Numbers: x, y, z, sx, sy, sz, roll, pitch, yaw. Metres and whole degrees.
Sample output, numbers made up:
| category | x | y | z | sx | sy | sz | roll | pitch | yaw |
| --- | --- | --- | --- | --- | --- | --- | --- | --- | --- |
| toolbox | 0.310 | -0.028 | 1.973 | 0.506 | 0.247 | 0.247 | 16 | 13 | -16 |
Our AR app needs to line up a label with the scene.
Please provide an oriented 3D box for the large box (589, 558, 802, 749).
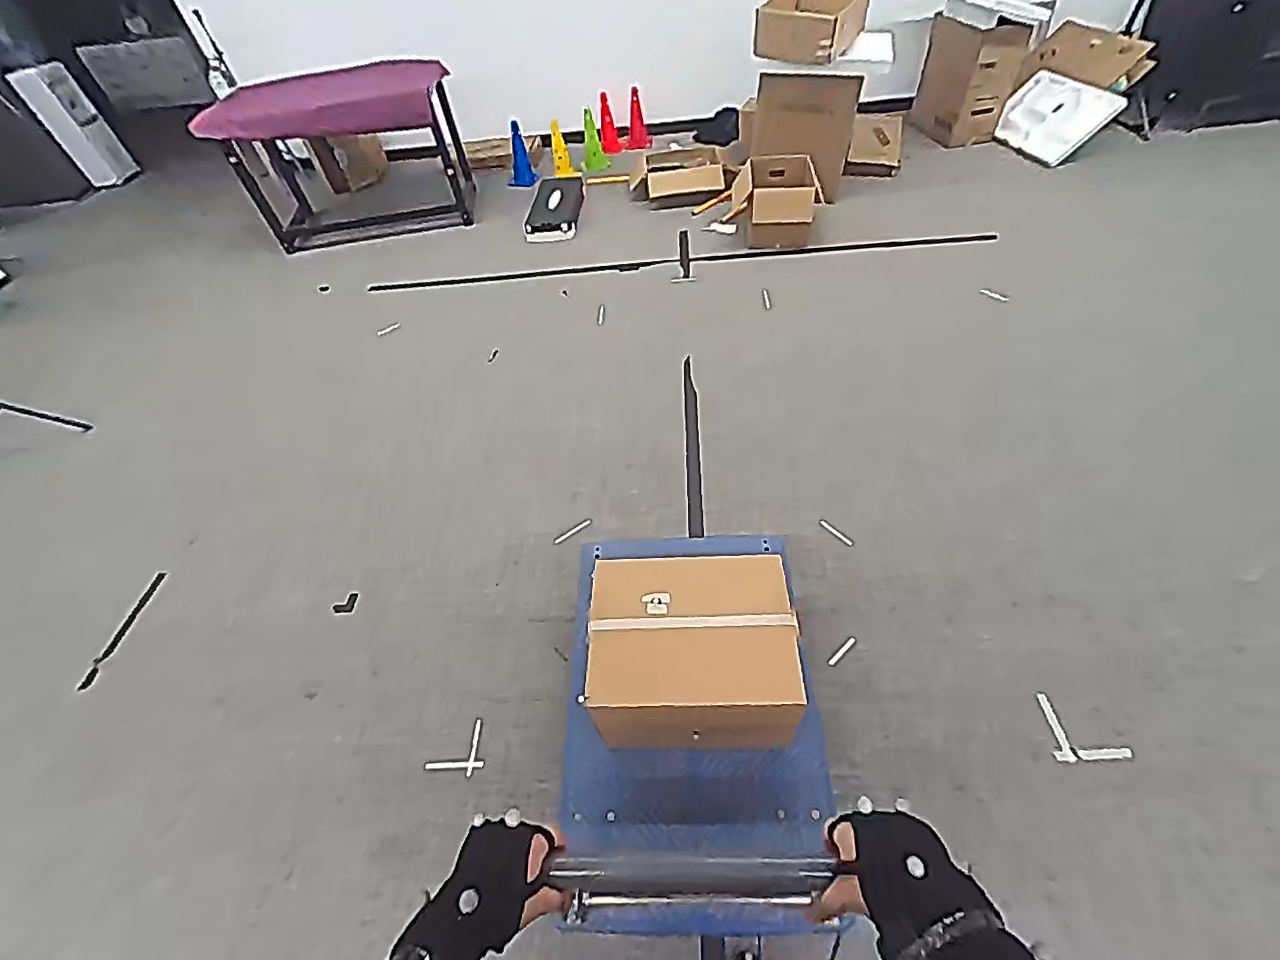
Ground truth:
| category | x | y | z | sx | sy | sz | roll | pitch | yaw |
| --- | --- | --- | --- | --- | --- | --- | --- | --- | --- |
| large box | 0.117 | 0.397 | 1.208 | 0.408 | 0.320 | 0.320 | -4 | 49 | 5 |
